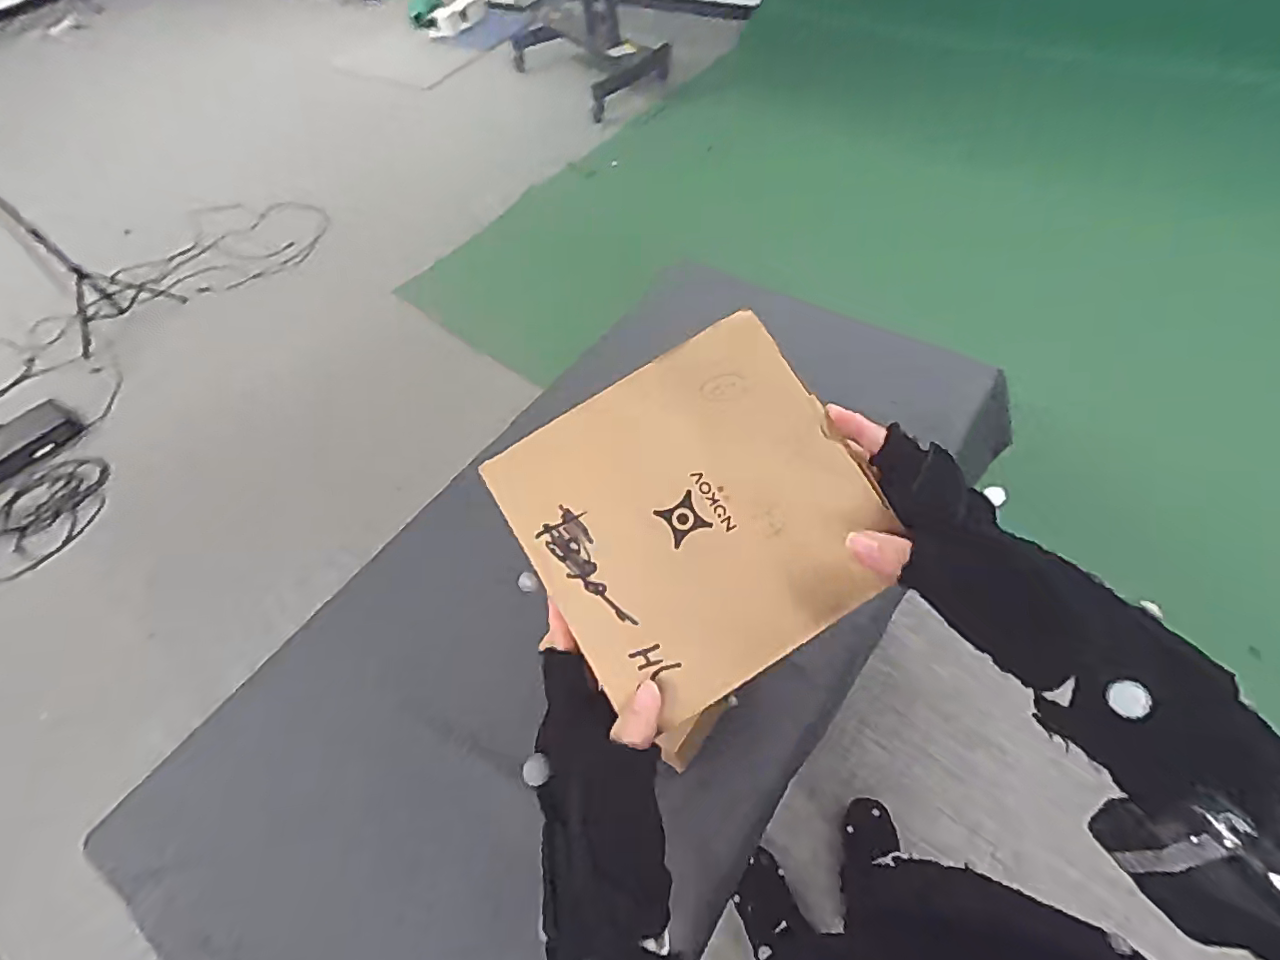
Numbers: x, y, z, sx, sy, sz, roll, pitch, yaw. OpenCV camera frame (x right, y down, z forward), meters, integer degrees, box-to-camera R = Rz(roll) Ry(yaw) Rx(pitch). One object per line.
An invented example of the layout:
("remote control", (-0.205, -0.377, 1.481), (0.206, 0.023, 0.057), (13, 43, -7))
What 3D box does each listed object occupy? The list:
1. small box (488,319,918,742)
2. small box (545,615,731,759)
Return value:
("small box", (0.031, 0.032, 0.361), (0.179, 0.176, 0.168), (-30, 80, -4))
("small box", (0.024, 0.177, 0.601), (0.168, 0.176, 0.179), (28, 64, 22))
